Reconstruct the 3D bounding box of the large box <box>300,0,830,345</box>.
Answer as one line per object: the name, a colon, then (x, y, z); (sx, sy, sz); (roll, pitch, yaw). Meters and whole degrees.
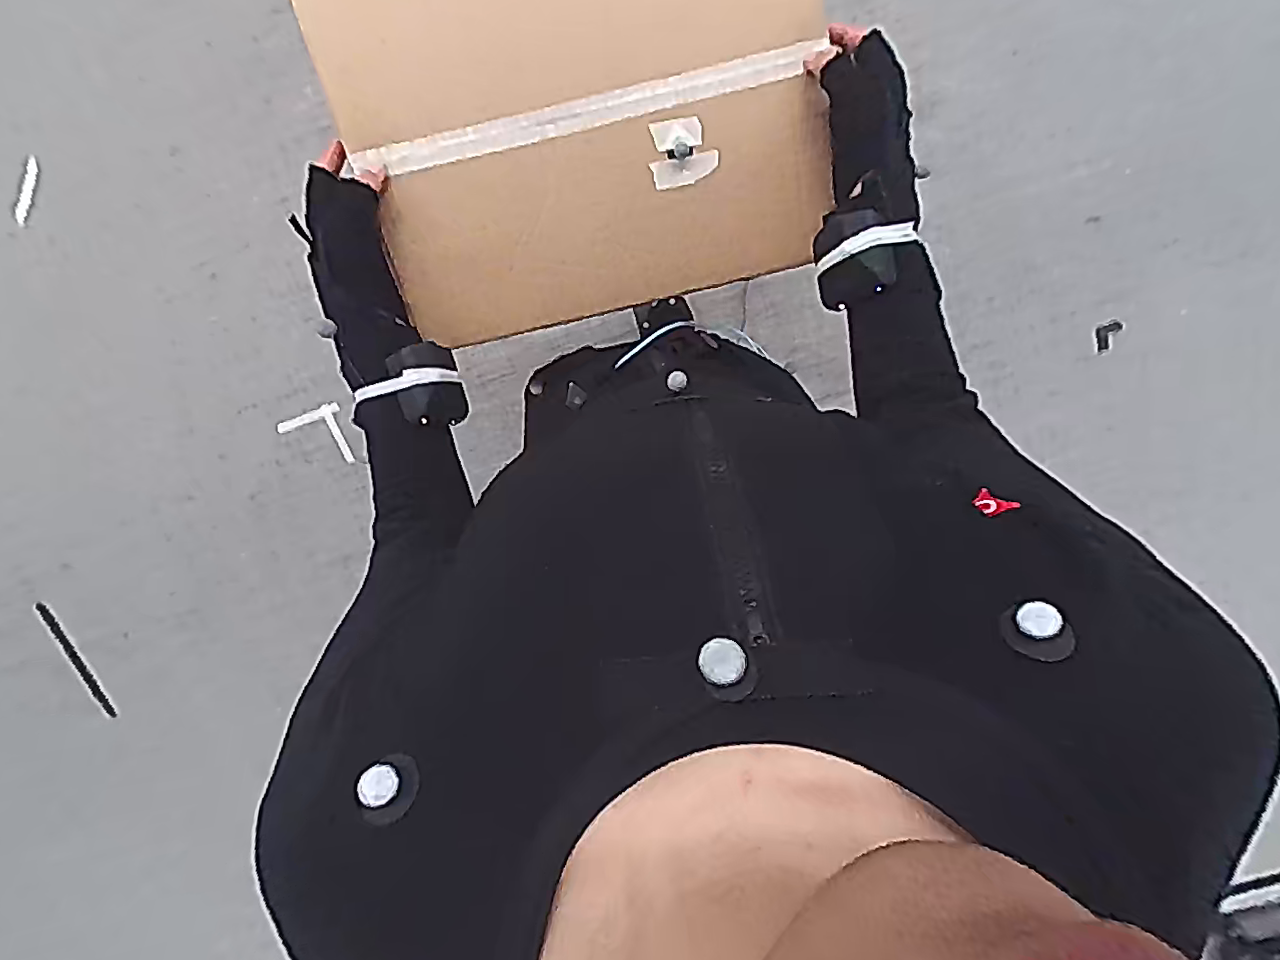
large box: (-0.059, -0.366, 0.599); (0.408, 0.320, 0.320); (-14, 112, 0)
